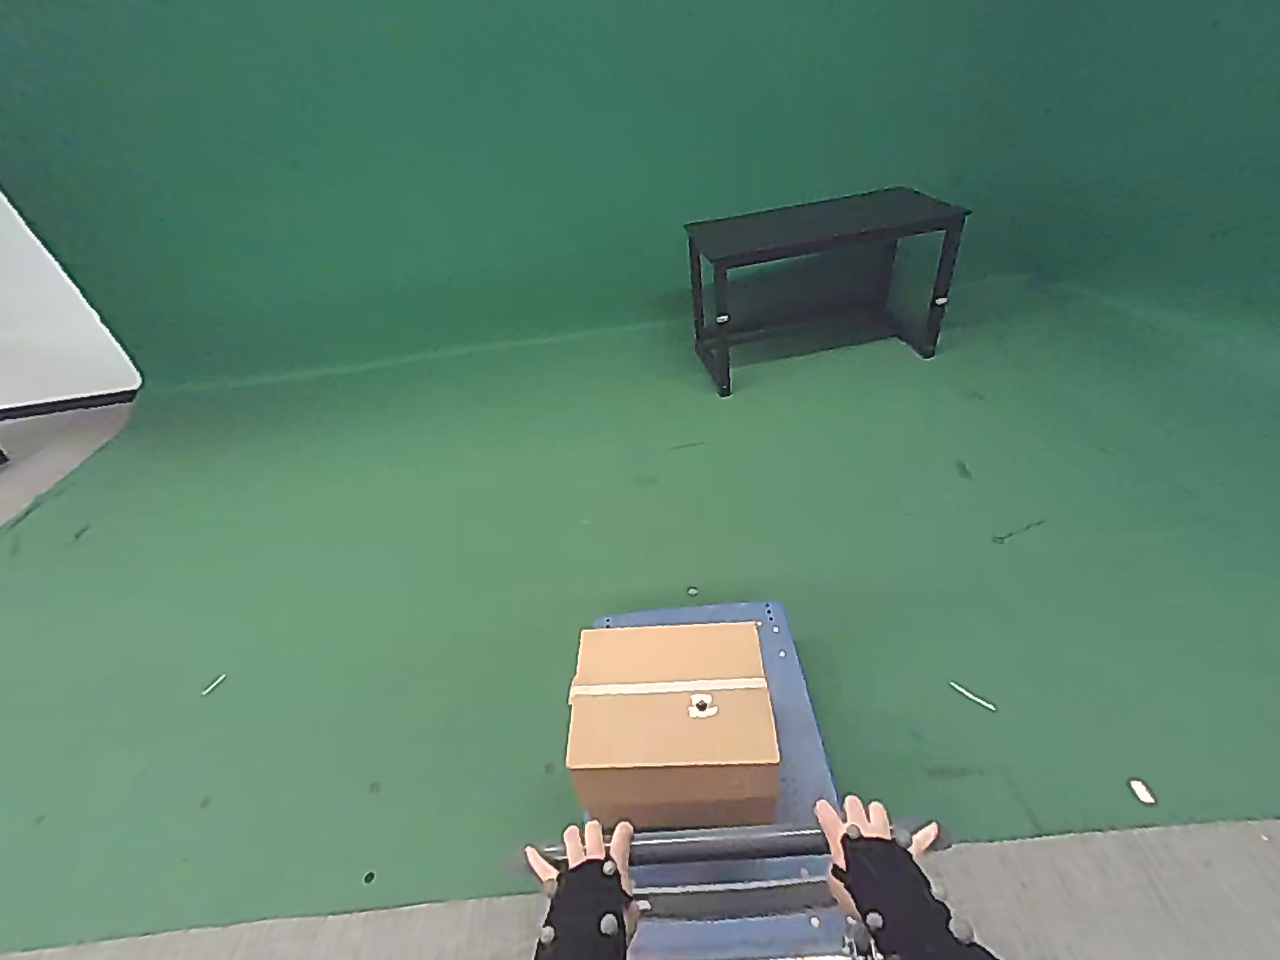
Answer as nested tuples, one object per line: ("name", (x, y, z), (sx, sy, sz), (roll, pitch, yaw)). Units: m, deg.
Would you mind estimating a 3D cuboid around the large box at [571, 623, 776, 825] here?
("large box", (0.074, 0.557, 1.237), (0.408, 0.320, 0.320), (-4, 39, 4))
